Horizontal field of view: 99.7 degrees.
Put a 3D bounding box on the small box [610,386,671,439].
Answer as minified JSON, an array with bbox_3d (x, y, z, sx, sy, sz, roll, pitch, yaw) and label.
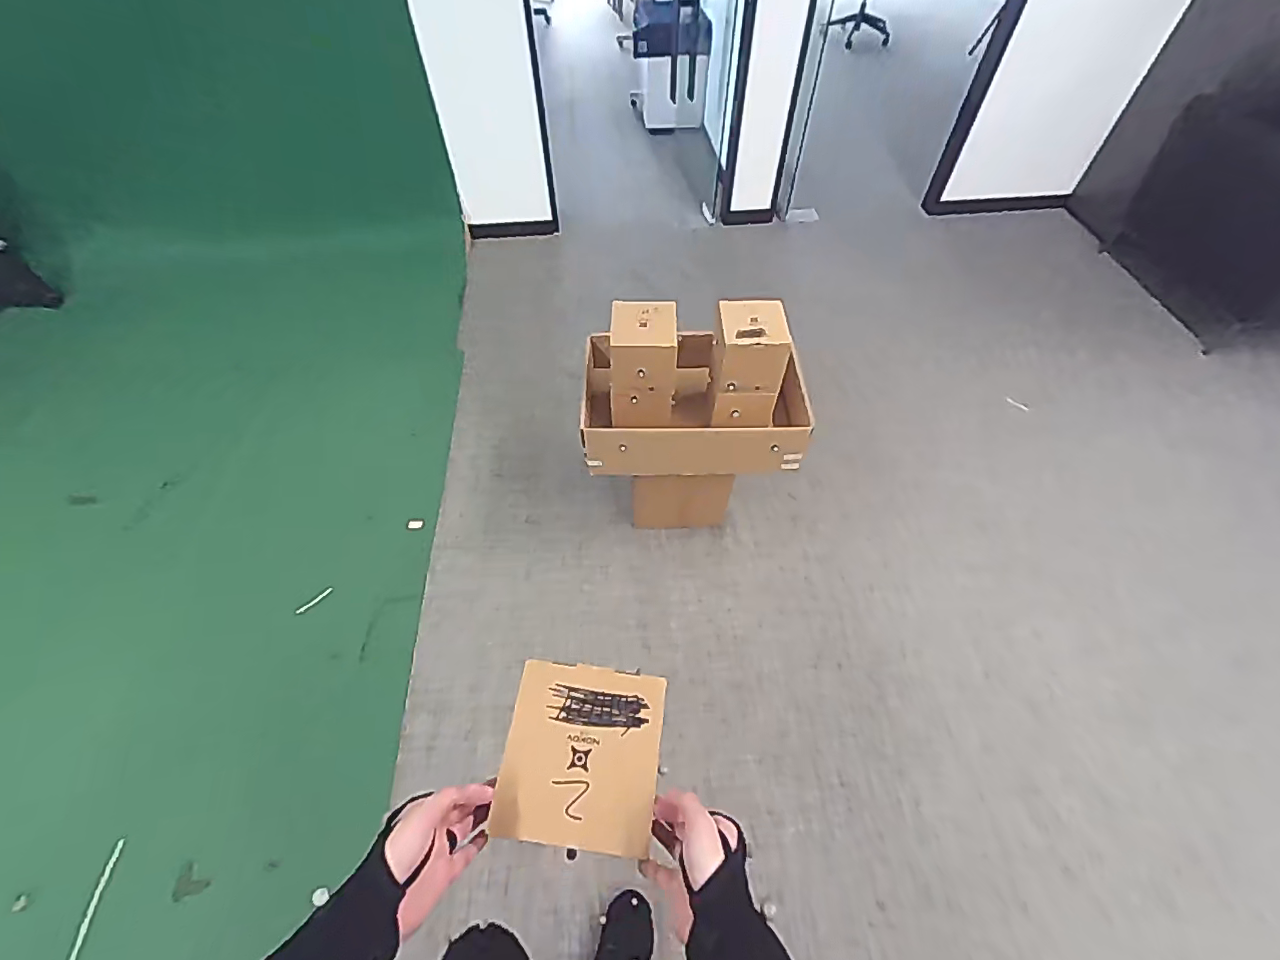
[{"bbox_3d":[0.004,-0.240,1.552,0.168,0.176,0.179,1,53,2],"label":"small box"}]

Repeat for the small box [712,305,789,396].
[{"bbox_3d":[0.283,-0.336,1.419,0.168,0.176,0.179,0,53,0],"label":"small box"}]

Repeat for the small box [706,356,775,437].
[{"bbox_3d":[0.282,-0.236,1.551,0.168,0.176,0.179,0,53,0],"label":"small box"}]

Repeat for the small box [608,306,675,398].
[{"bbox_3d":[0.006,-0.331,1.415,0.168,0.176,0.179,1,54,0],"label":"small box"}]
